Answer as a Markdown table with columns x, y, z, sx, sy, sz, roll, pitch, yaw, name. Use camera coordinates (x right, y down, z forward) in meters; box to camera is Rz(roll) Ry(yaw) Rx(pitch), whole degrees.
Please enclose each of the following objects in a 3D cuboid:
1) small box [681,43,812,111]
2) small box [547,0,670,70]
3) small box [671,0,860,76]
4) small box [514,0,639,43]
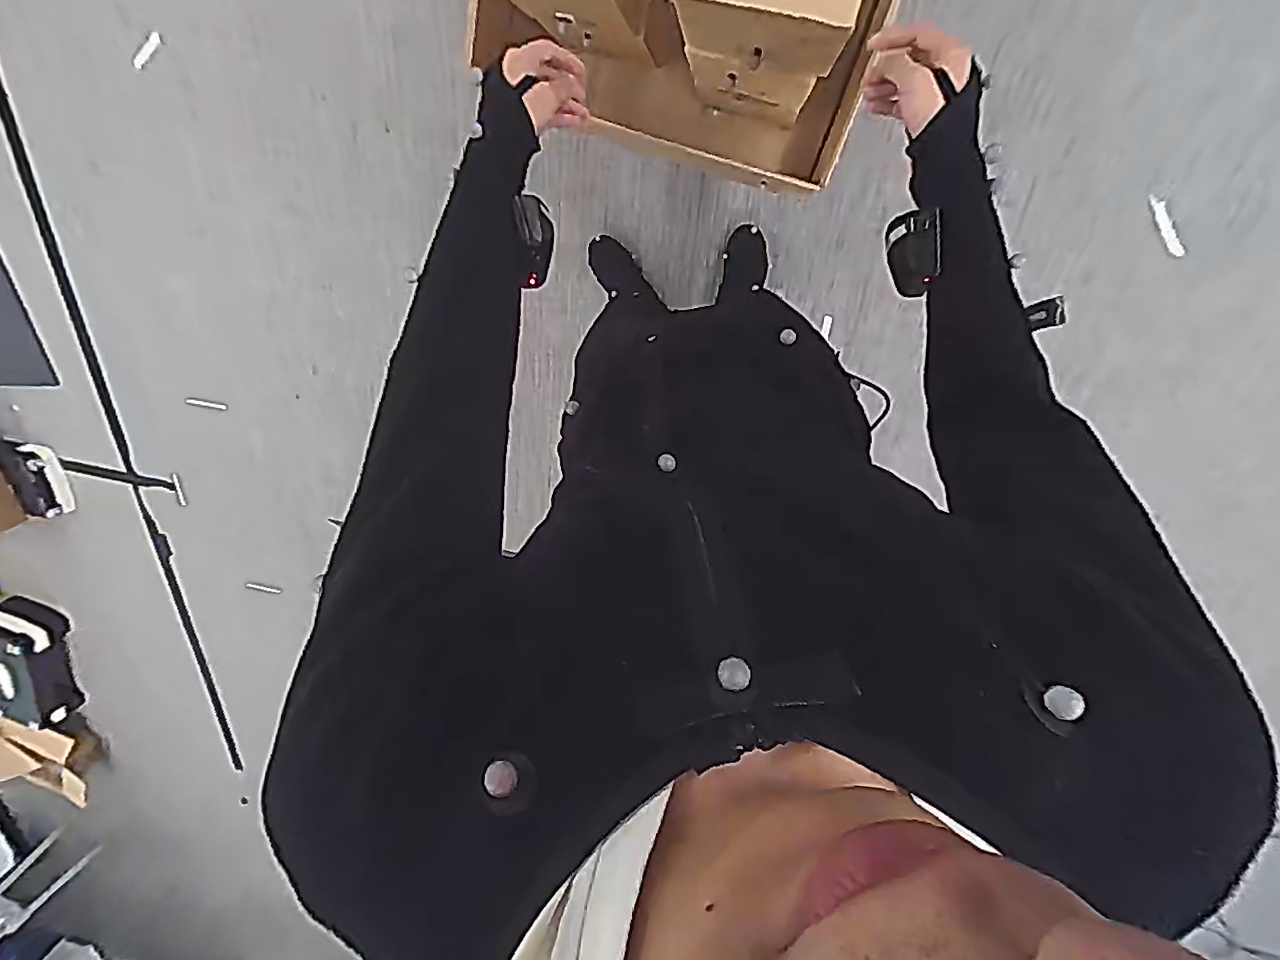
| x | y | z | sx | sy | sz | roll | pitch | yaw | name |
| --- | --- | --- | --- | --- | --- | --- | --- | --- | --- |
| 0.162 | -0.604 | 0.694 | 0.168 | 0.176 | 0.179 | 17 | 116 | 2 | small box |
| -0.052 | -0.767 | 0.835 | 0.179 | 0.176 | 0.168 | 15 | 117 | 2 | small box |
| 0.139 | -0.538 | 0.546 | 0.179 | 0.176 | 0.168 | 15 | 115 | 2 | small box |
| -0.086 | -0.702 | 0.688 | 0.168 | 0.176 | 0.179 | 14 | 116 | 5 | small box |
